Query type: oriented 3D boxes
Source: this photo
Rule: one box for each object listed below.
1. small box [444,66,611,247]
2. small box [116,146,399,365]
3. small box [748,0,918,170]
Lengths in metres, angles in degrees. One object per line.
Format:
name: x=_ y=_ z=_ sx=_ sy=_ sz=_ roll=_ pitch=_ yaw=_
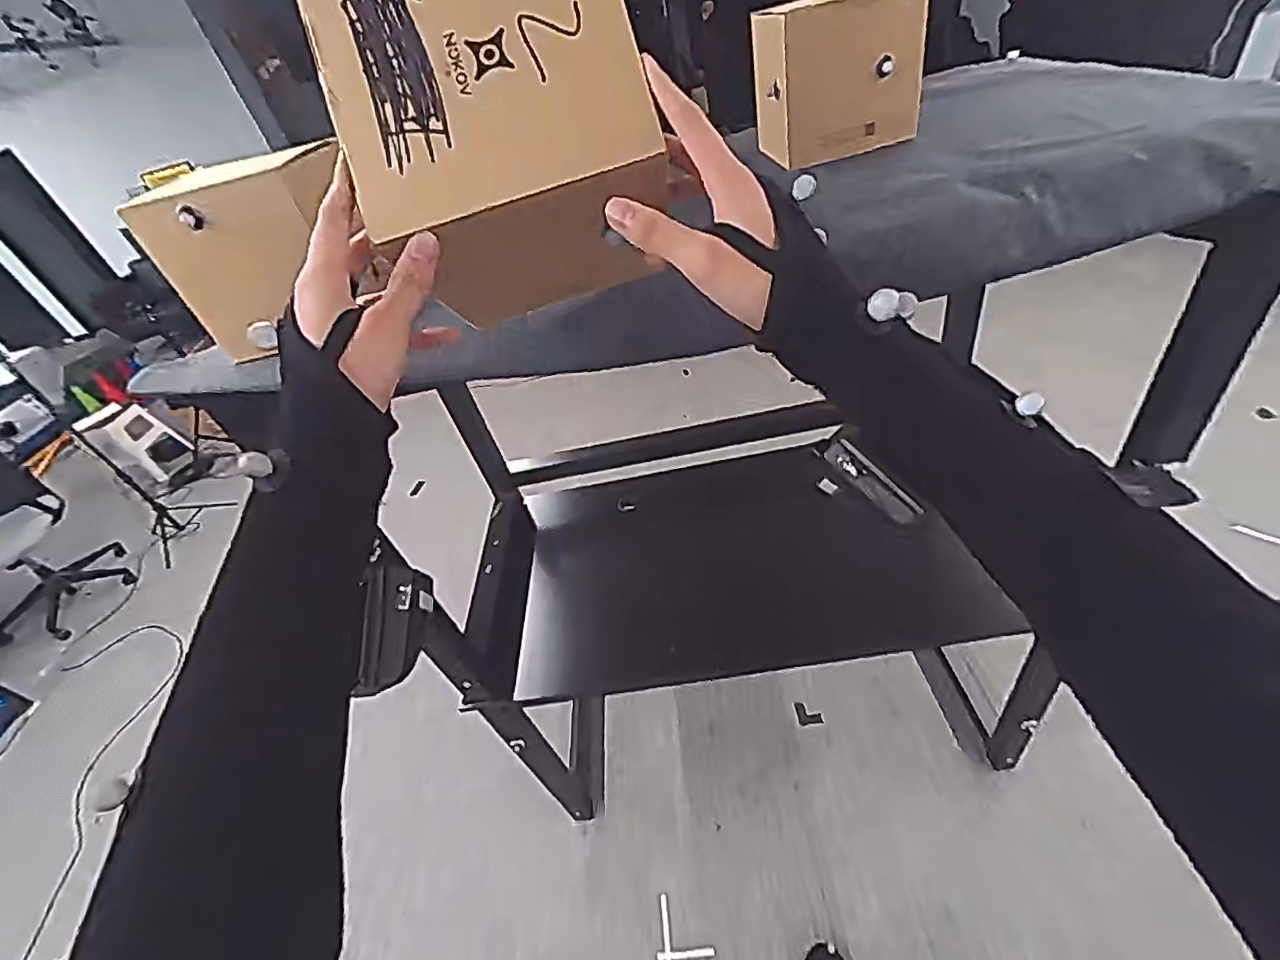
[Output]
small box: x=-0.142 y=-0.456 z=0.766 sx=0.179 sy=0.176 sz=0.168 roll=-11 pitch=40 yaw=7
small box: x=-0.403 y=-0.255 z=0.615 sx=0.168 sy=0.176 sz=0.179 roll=-13 pitch=39 yaw=5
small box: x=0.249 y=-0.532 z=0.719 sx=0.168 sy=0.176 sz=0.179 roll=-12 pitch=40 yaw=5
